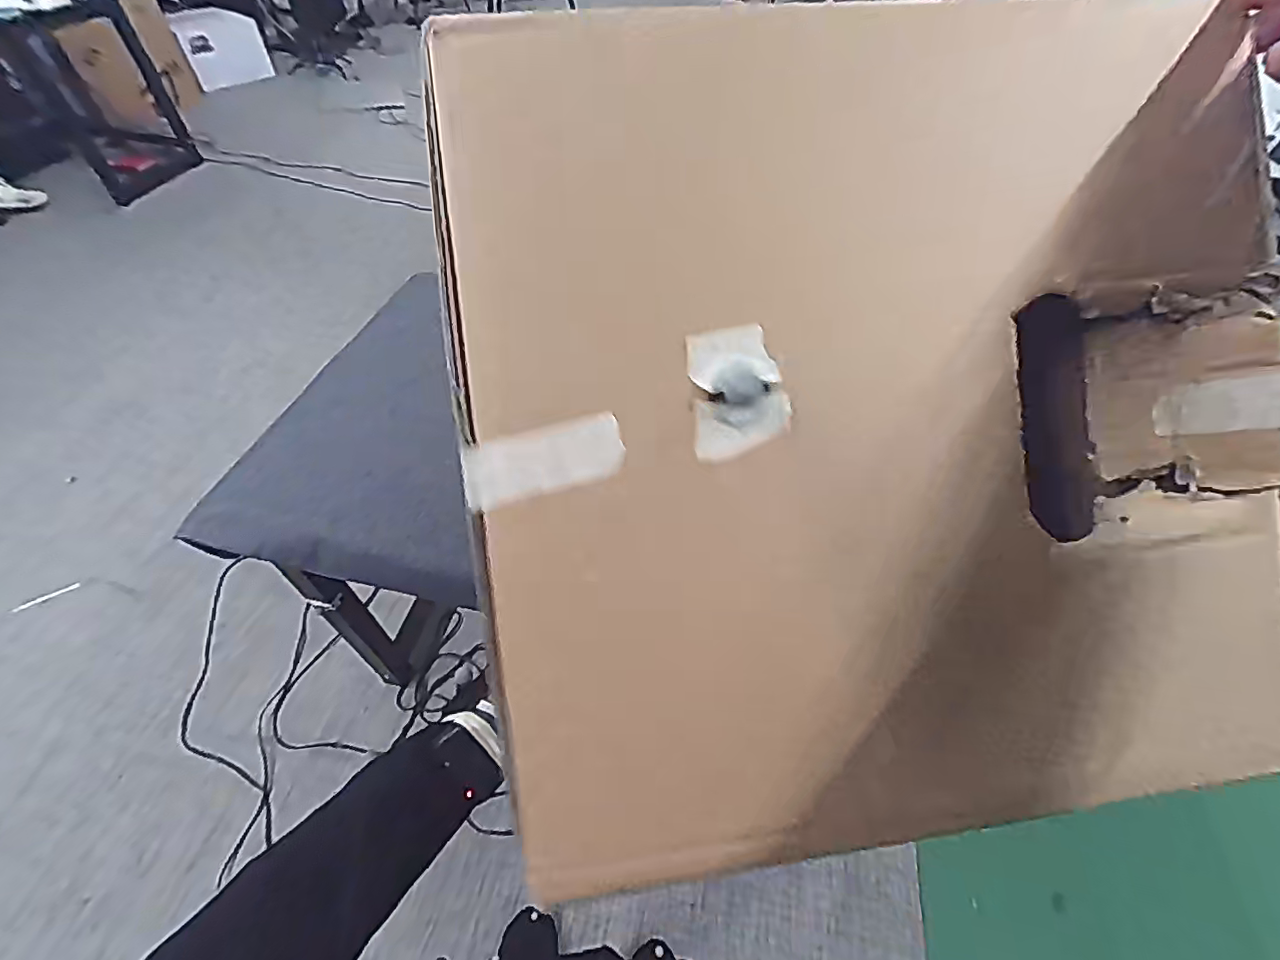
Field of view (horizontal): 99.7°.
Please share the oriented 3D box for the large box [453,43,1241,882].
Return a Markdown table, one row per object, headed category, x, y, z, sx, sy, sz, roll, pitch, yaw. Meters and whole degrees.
| category | x | y | z | sx | sy | sz | roll | pitch | yaw |
| --- | --- | --- | --- | --- | --- | --- | --- | --- | --- |
| large box | 0.074 | -0.022 | 0.406 | 0.320 | 0.408 | 0.320 | -7 | 93 | -7 |
